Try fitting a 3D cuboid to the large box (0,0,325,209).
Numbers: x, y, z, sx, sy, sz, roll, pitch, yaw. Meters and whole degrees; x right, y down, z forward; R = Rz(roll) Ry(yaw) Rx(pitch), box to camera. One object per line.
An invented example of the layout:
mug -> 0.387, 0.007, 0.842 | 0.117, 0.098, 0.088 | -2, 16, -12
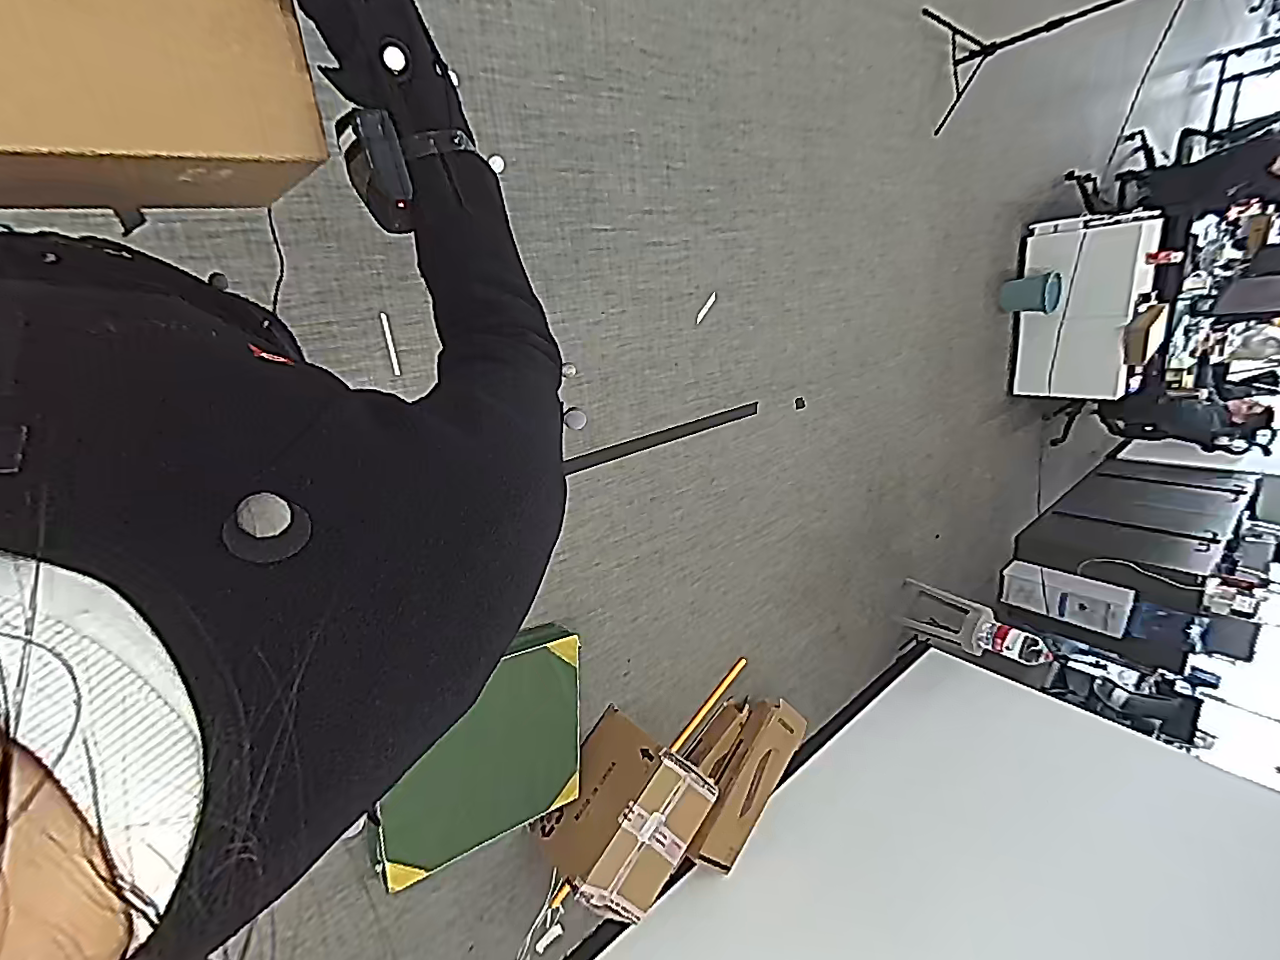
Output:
large box -> -0.481, -0.344, 0.319 | 0.408, 0.320, 0.320 | -22, 120, -35
